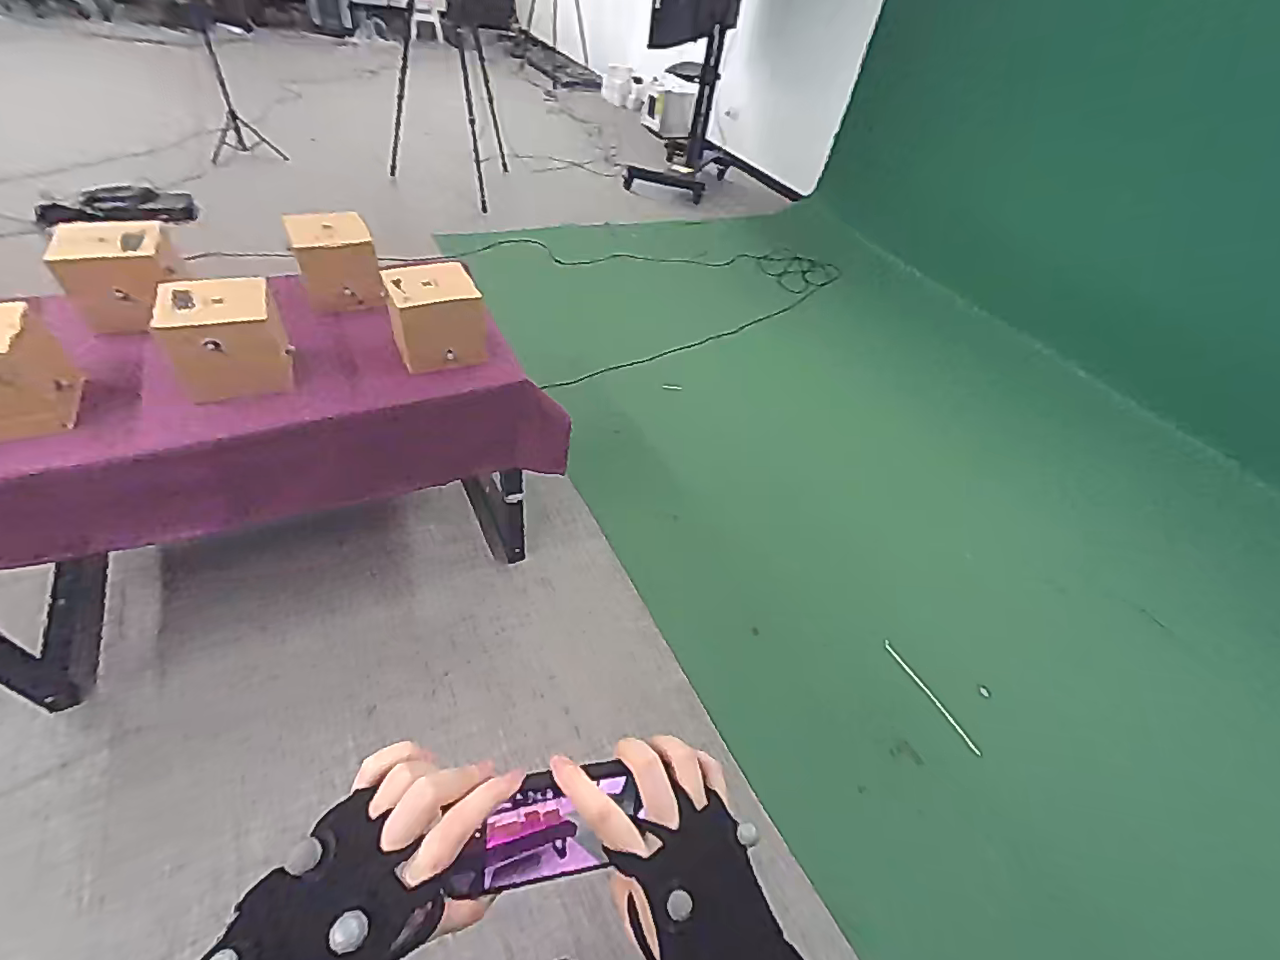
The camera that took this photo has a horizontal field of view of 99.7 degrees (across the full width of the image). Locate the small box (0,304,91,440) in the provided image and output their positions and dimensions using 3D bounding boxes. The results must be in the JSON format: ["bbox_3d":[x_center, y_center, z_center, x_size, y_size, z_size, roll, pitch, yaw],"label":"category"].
[{"bbox_3d":[-1.105,-0.176,0.920,0.179,0.176,0.168,-14,51,-24],"label":"small box"}]

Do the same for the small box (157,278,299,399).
[{"bbox_3d":[-0.803,-0.278,1.072,0.179,0.176,0.168,-13,51,-23],"label":"small box"}]

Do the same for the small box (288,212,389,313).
[{"bbox_3d":[-0.734,-0.533,1.325,0.168,0.176,0.179,-19,53,-25],"label":"small box"}]

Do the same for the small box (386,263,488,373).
[{"bbox_3d":[-0.452,-0.364,1.219,0.179,0.176,0.168,-17,52,-25],"label":"small box"}]
